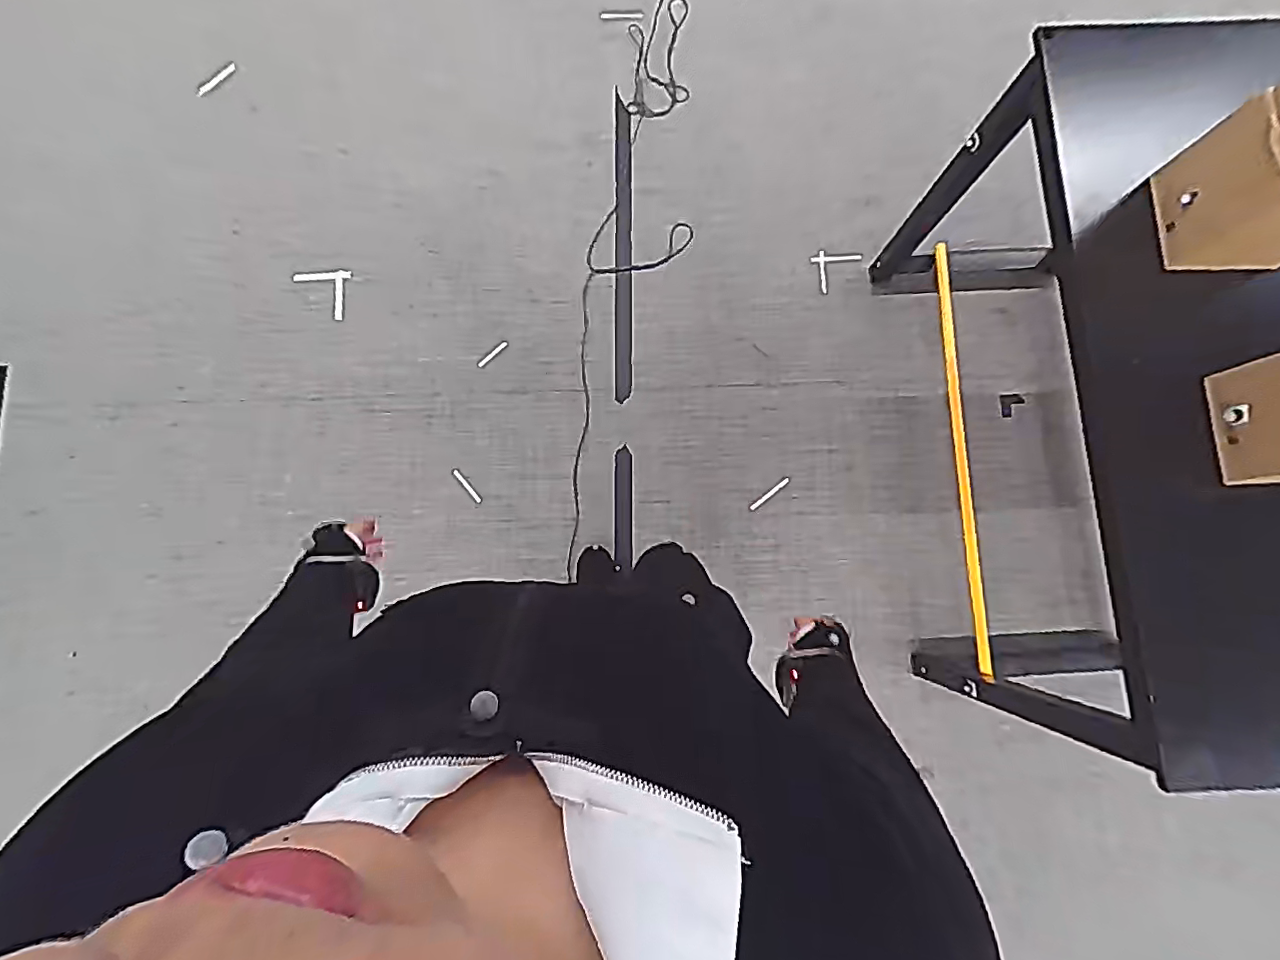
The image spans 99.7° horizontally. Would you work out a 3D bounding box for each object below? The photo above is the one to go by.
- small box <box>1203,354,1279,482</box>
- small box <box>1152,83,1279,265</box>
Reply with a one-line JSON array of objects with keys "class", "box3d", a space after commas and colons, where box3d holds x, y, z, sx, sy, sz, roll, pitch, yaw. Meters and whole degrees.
[{"class": "small box", "box3d": [0.939, -0.094, 0.728, 0.179, 0.176, 0.168, -3, 80, 1]}, {"class": "small box", "box3d": [0.906, -0.427, 0.776, 0.179, 0.176, 0.168, 0, 81, 0]}]
